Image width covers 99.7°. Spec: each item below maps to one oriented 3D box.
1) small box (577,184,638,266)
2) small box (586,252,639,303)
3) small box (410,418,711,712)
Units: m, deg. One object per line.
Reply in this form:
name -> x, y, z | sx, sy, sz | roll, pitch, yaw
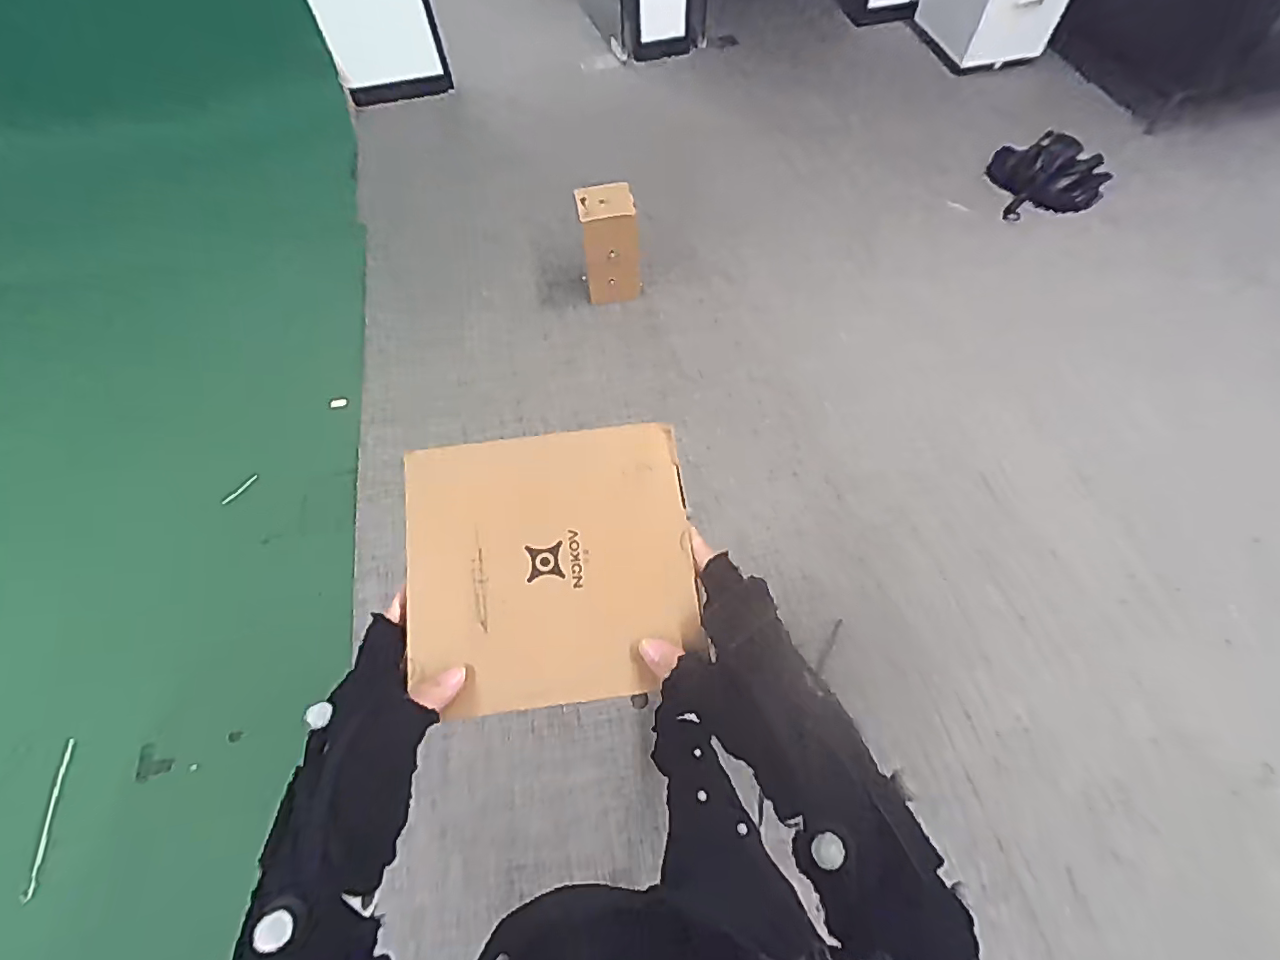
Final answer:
small box -> -0.102, -0.822, 1.752 | 0.179, 0.176, 0.168 | -9, 61, -3
small box -> -0.097, -0.748, 1.896 | 0.179, 0.176, 0.168 | -8, 59, -1
small box -> -0.055, 0.068, 0.413 | 0.179, 0.176, 0.168 | -8, 73, -2
